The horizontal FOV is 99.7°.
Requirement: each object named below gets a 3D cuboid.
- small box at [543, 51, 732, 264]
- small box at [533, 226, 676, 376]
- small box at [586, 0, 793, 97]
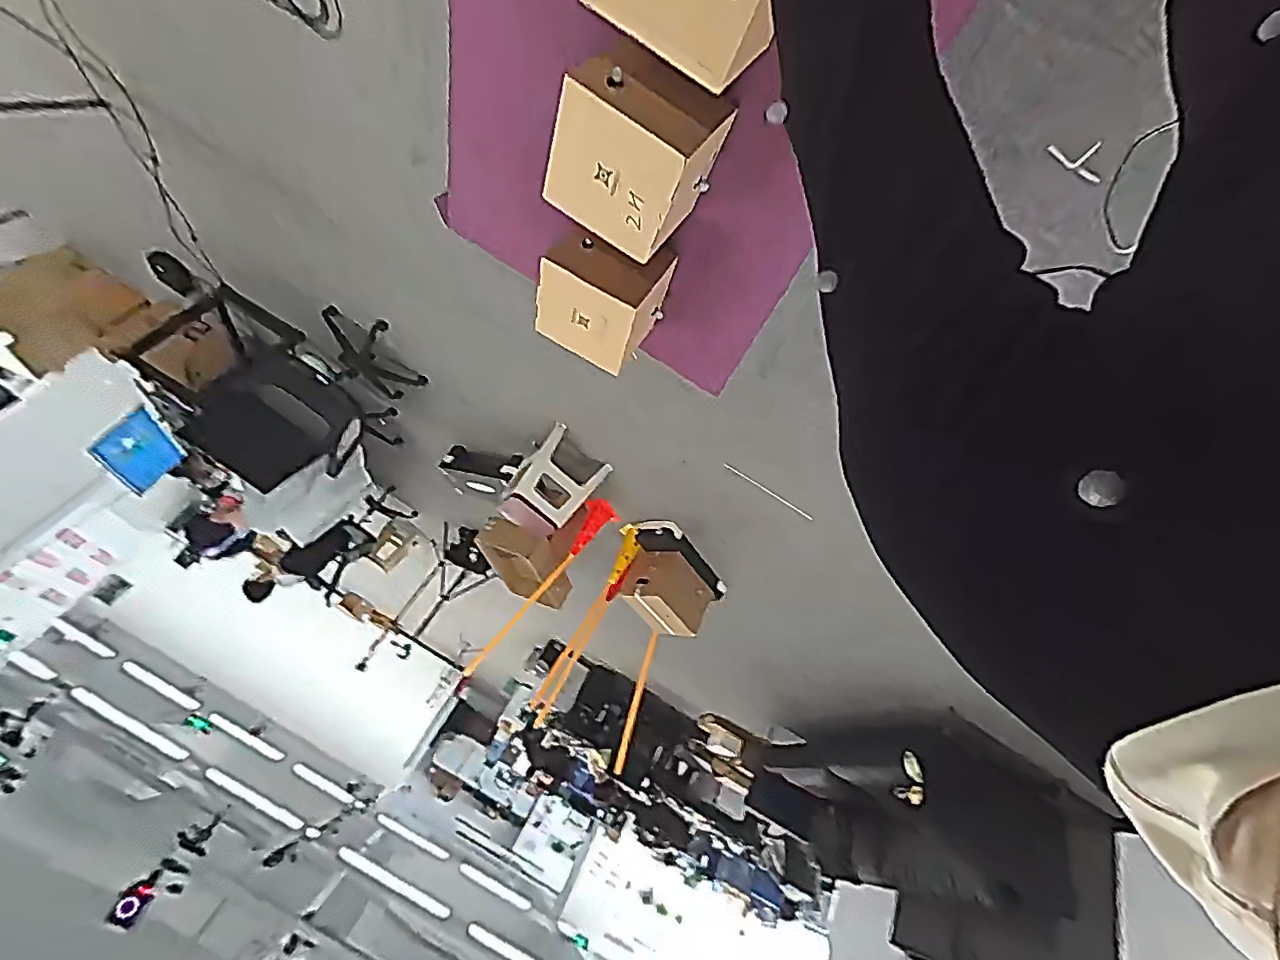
[{"bbox_3d":[-0.005,-0.444,0.742,0.179,0.176,0.168,33,148,-3],"label":"small box"},{"bbox_3d":[-0.064,-0.326,0.954,0.179,0.176,0.168,30,148,2],"label":"small box"},{"bbox_3d":[0.074,-0.543,0.544,0.179,0.176,0.168,33,148,-5],"label":"small box"}]
